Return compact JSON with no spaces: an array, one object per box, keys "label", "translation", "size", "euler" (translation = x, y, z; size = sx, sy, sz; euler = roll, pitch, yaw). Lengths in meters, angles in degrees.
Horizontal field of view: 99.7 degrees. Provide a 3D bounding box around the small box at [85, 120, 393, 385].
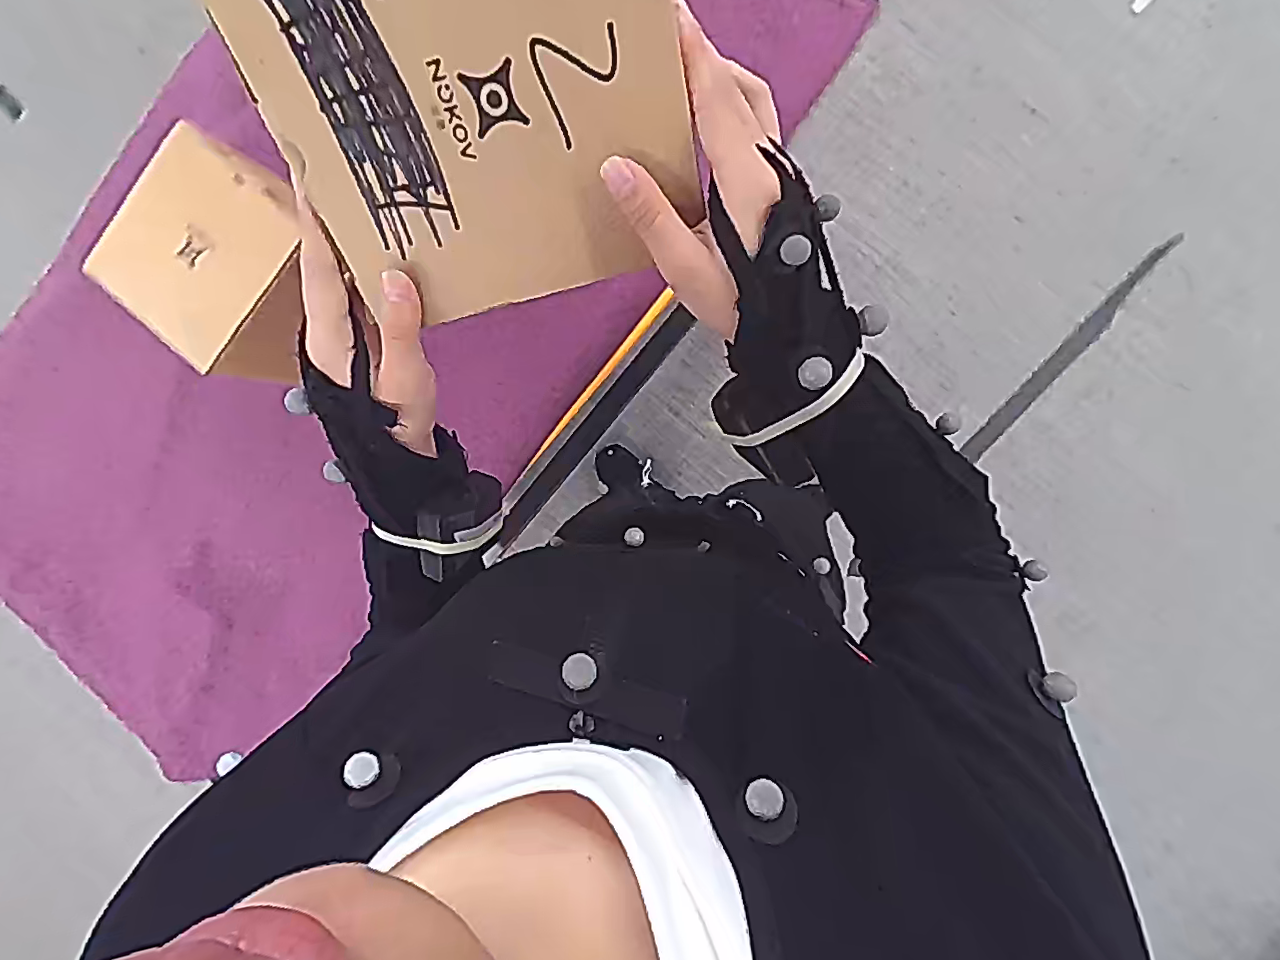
[{"label":"small box","translation":[-0.411,-0.222,0.586],"size":[0.168,0.176,0.179],"euler":[41,96,2]}]
